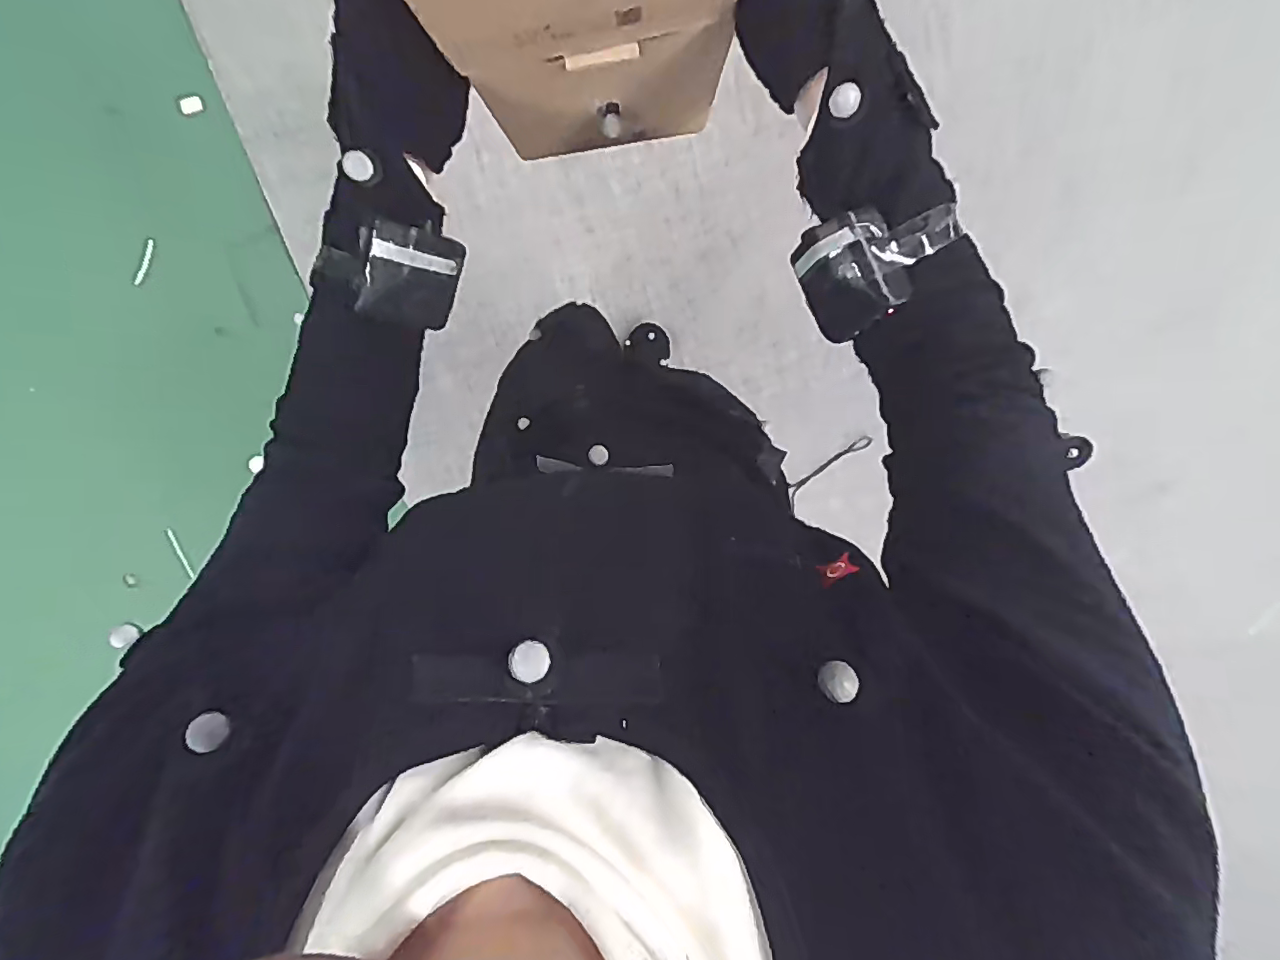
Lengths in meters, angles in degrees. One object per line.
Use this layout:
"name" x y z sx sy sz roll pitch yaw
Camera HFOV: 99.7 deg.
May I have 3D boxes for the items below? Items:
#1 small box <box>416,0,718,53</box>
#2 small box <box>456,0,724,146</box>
"small box" -0.045 -0.318 0.223 0.168 0.176 0.179 -9 103 2
"small box" -0.039 -0.360 0.381 0.168 0.176 0.179 -8 105 3
